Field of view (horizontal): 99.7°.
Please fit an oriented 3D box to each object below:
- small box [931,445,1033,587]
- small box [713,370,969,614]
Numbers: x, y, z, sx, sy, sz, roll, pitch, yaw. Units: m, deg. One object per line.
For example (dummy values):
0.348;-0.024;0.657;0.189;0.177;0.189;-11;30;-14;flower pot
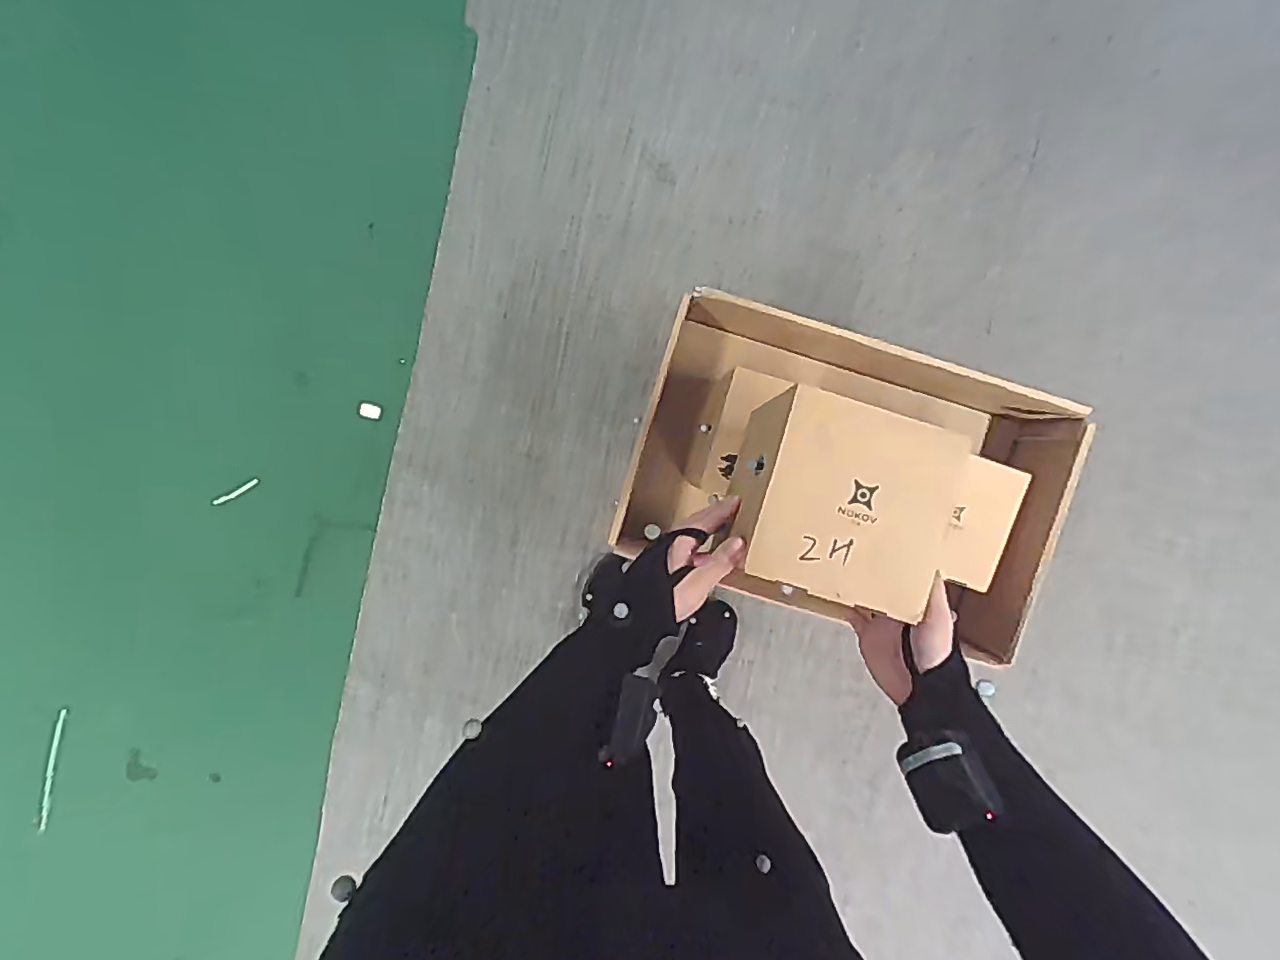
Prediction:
0.425;0.034;0.809;0.168;0.176;0.179;18;94;-2;small box
0.182;0.011;0.545;0.168;0.176;0.179;17;89;-1;small box
